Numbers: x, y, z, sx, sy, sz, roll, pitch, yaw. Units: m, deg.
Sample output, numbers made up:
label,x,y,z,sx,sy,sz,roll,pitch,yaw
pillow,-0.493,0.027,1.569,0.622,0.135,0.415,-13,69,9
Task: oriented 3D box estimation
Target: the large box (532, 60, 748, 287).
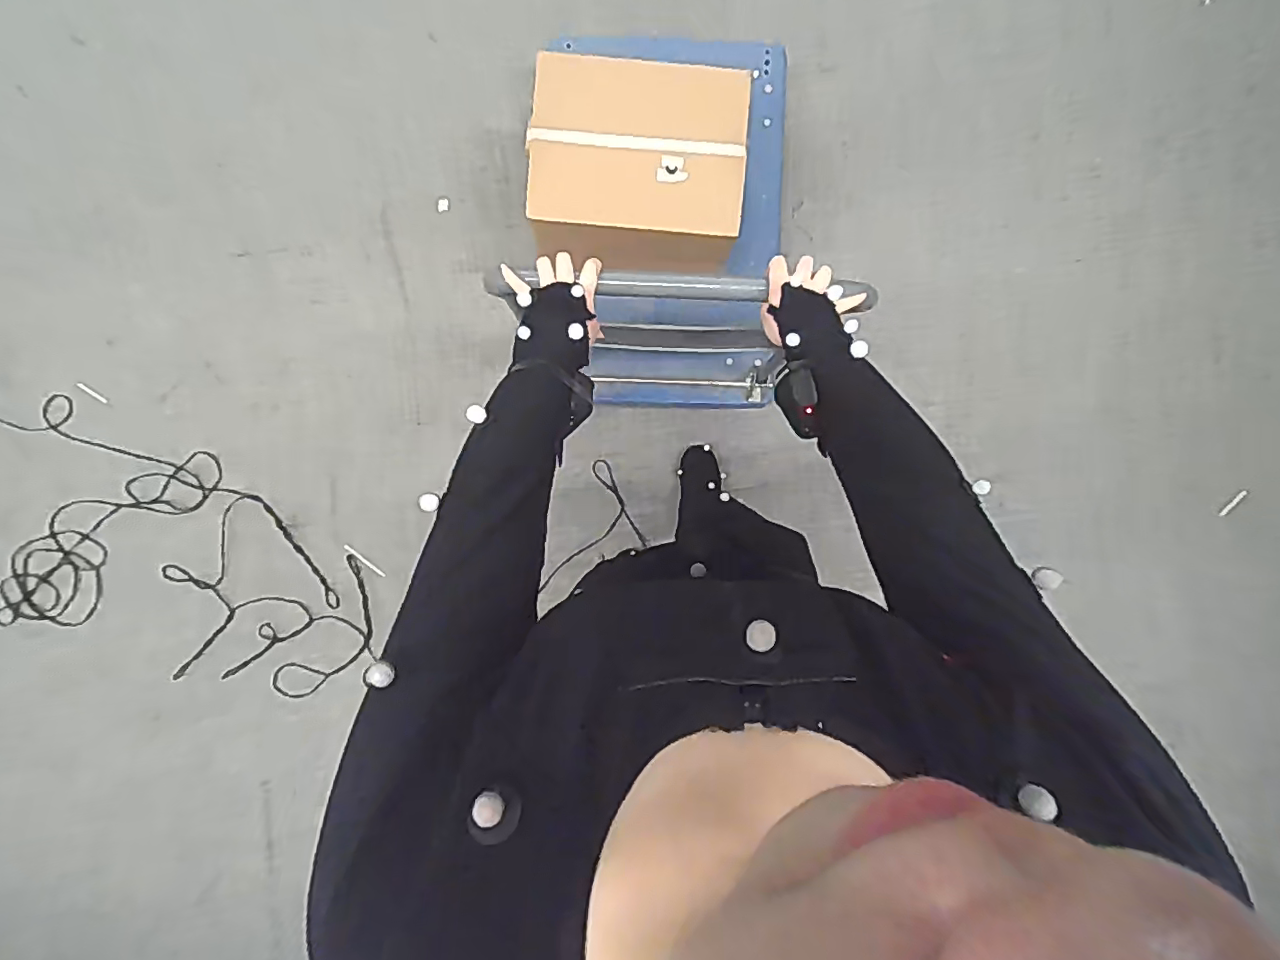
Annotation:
label,x,y,z,sx,sy,sz,roll,pitch,yaw
large box,-0.005,-0.636,1.181,0.408,0.320,0.320,4,91,-1
